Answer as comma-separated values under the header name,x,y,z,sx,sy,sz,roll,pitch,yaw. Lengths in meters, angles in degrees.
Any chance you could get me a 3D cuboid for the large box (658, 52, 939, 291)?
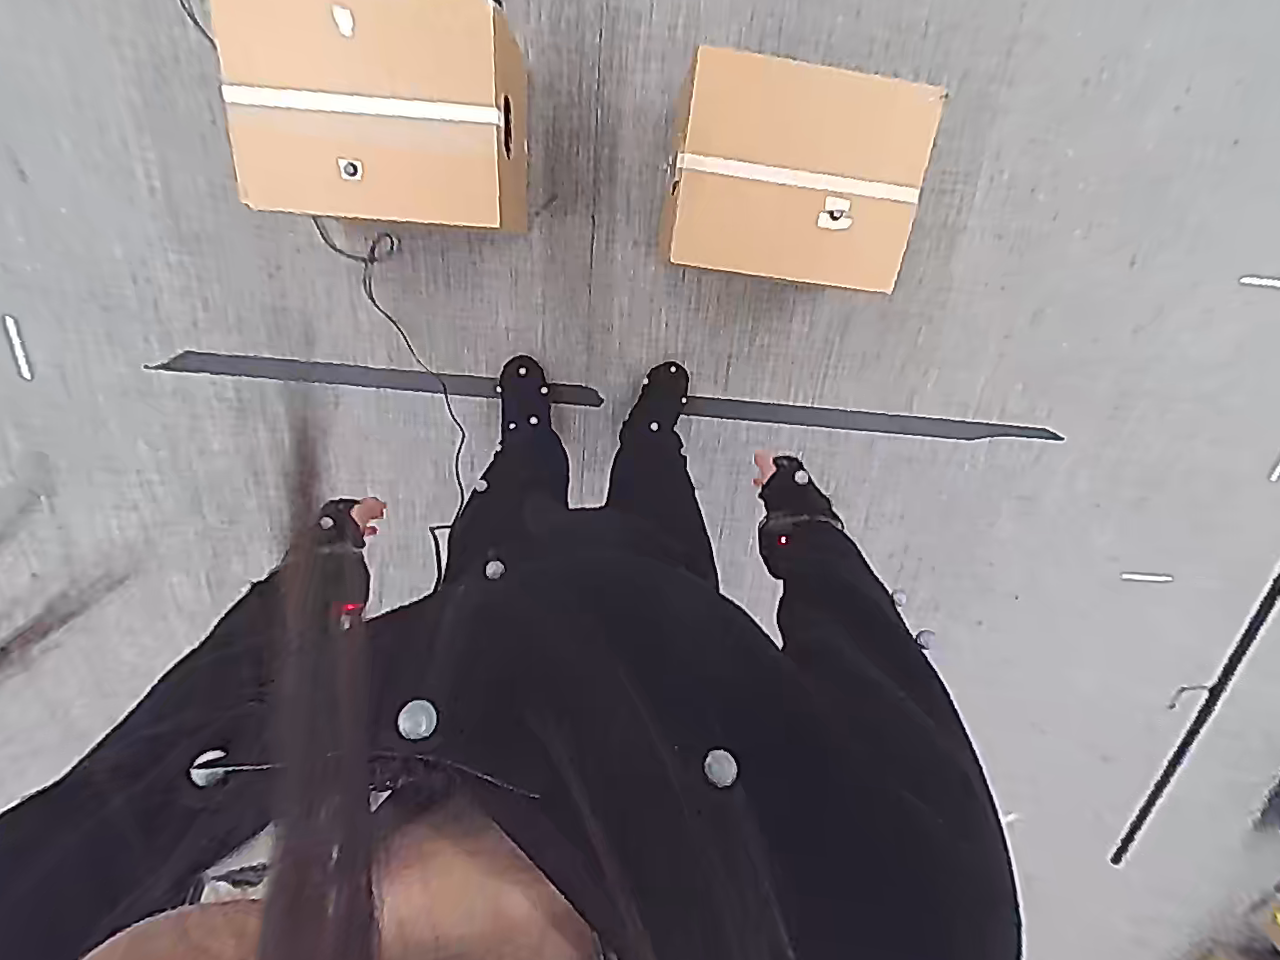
name,x,y,z,sx,sy,sz,roll,pitch,yaw
large box,0.260,-0.552,1.043,0.408,0.320,0.320,6,111,-6
